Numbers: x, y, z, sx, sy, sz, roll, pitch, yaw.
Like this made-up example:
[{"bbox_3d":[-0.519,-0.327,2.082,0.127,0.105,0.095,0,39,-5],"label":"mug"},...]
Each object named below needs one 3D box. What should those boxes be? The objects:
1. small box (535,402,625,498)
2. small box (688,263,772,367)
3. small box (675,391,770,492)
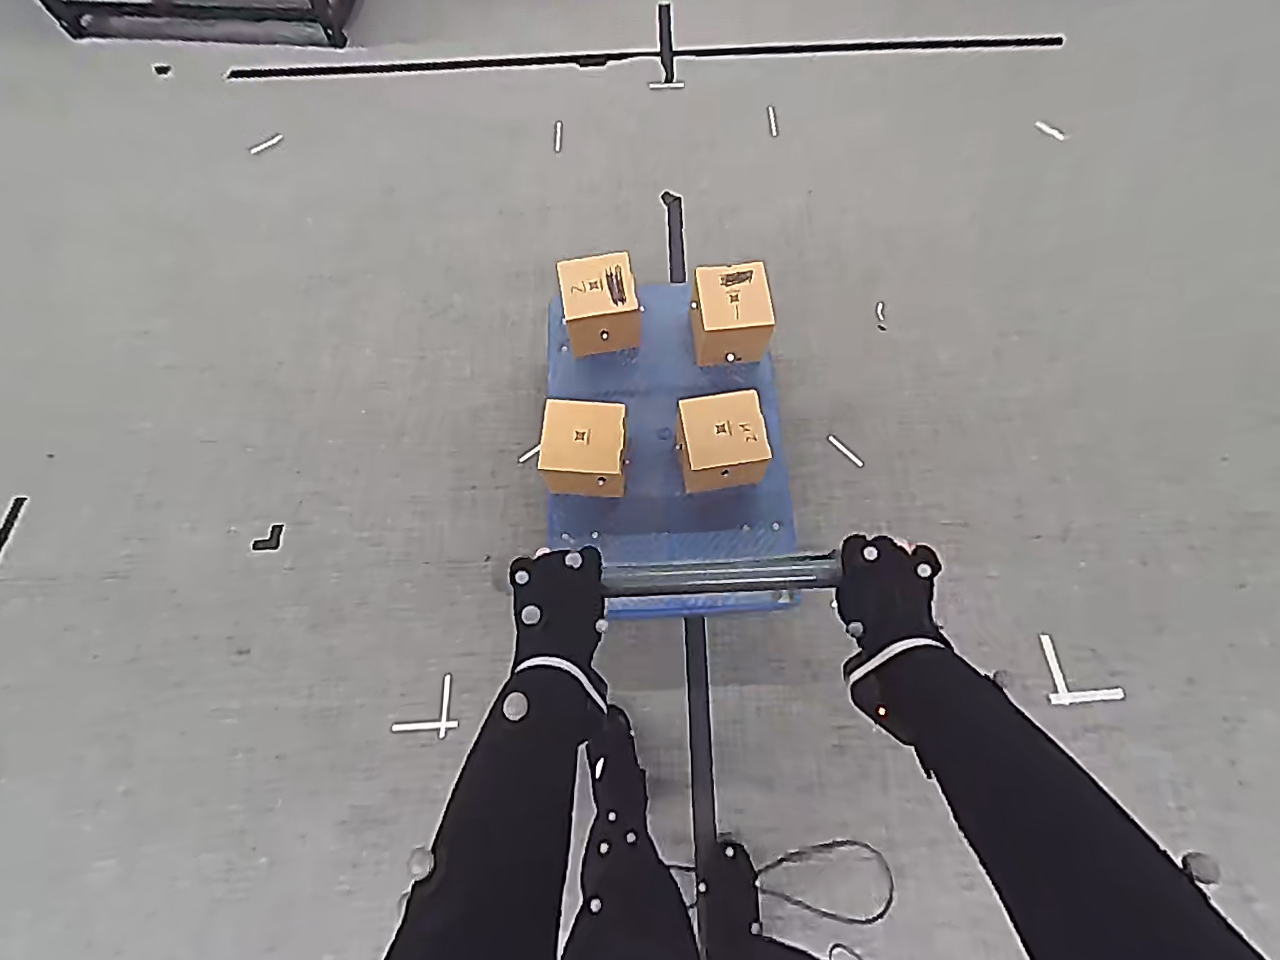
[{"bbox_3d":[-0.127,-0.061,1.220,0.179,0.176,0.168,3,72,0],"label":"small box"},{"bbox_3d":[0.212,-0.401,1.324,0.168,0.176,0.179,-6,73,-1],"label":"small box"},{"bbox_3d":[0.177,-0.080,1.221,0.179,0.176,0.168,-9,72,-2],"label":"small box"}]
